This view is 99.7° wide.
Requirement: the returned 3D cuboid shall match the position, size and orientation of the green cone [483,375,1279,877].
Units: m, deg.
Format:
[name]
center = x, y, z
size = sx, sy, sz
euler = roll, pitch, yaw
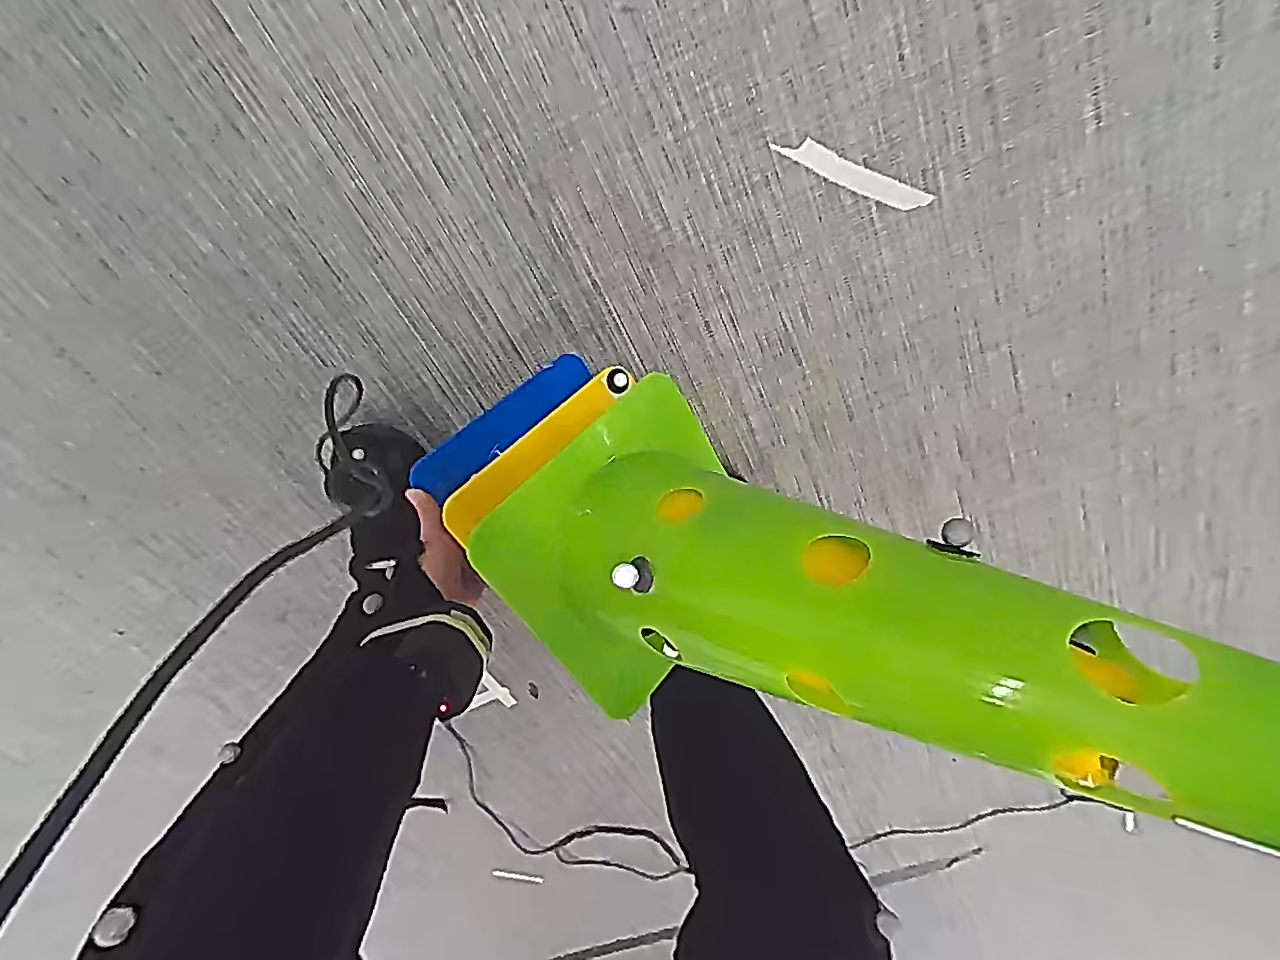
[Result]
[green cone]
center = 0.108, 0.066, 0.257
size = 0.202, 0.368, 0.200
euler = -45, 117, -22
